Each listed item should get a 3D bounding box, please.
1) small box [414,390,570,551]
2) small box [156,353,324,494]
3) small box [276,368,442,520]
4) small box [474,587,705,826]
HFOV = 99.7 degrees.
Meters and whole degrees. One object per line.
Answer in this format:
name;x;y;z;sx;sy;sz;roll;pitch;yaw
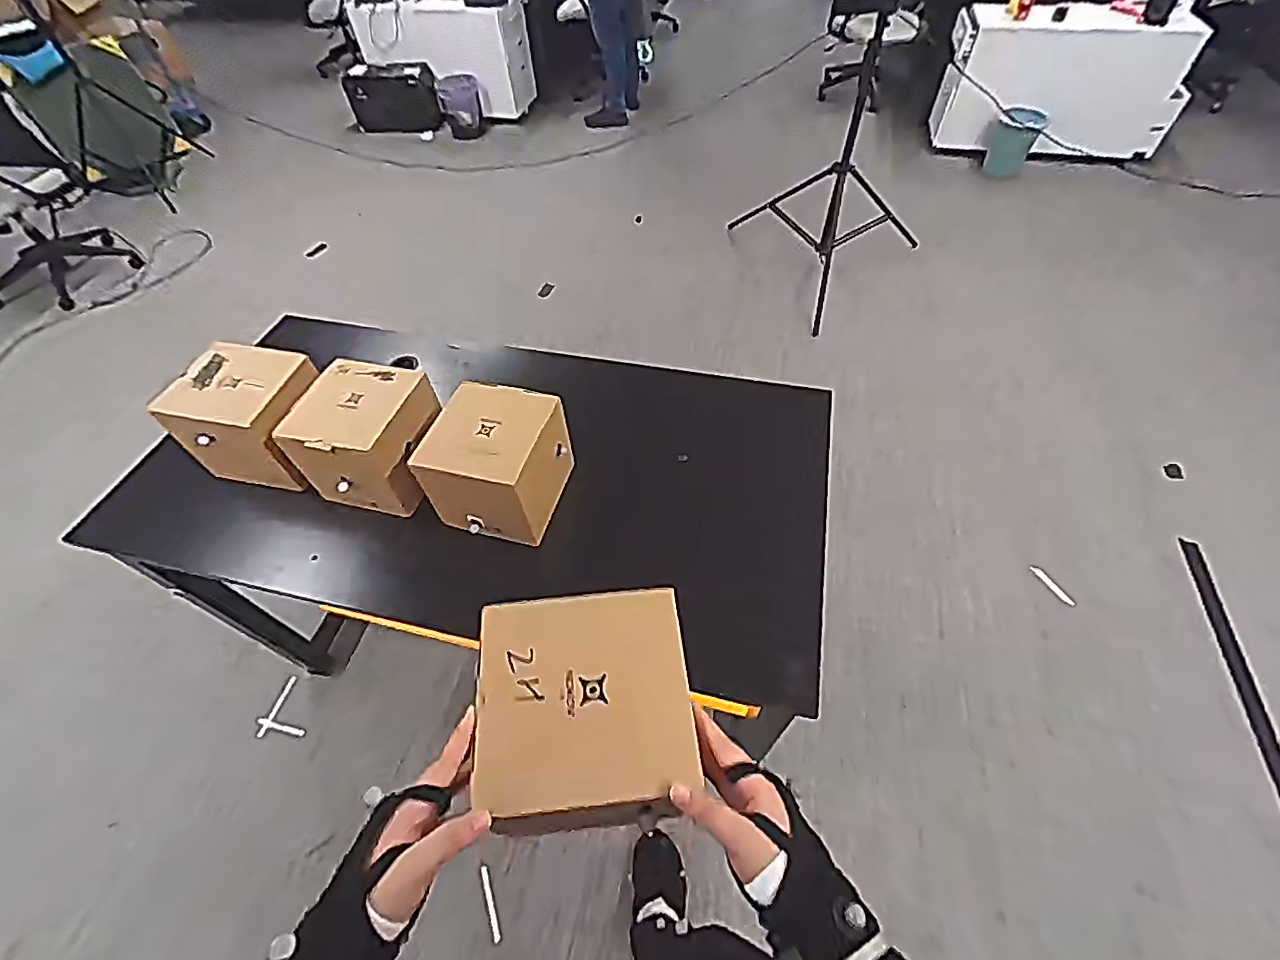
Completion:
small box;-0.217;-0.014;0.856;0.168;0.176;0.179;10;55;11
small box;-0.645;-0.093;0.929;0.179;0.176;0.168;9;54;7
small box;-0.435;-0.056;0.894;0.168;0.176;0.179;10;54;10
small box;-0.045;0.218;0.514;0.179;0.176;0.168;-5;53;-4
